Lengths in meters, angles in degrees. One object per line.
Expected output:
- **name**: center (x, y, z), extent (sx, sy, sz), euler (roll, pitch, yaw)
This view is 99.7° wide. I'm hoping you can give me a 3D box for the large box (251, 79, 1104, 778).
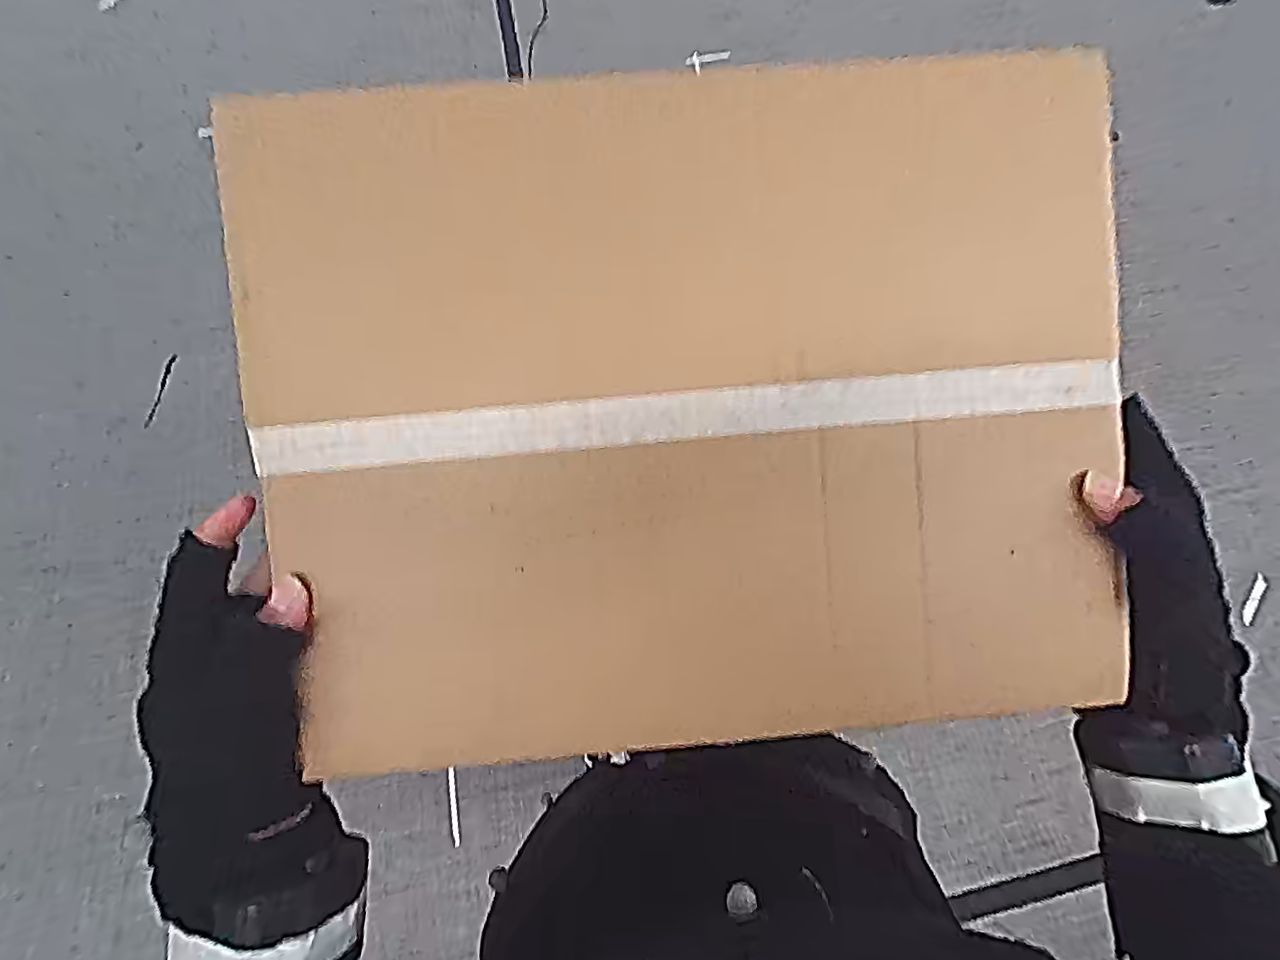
- **large box**: center (0.022, -0.030, 0.413), extent (0.408, 0.320, 0.320), euler (-5, 94, -2)
